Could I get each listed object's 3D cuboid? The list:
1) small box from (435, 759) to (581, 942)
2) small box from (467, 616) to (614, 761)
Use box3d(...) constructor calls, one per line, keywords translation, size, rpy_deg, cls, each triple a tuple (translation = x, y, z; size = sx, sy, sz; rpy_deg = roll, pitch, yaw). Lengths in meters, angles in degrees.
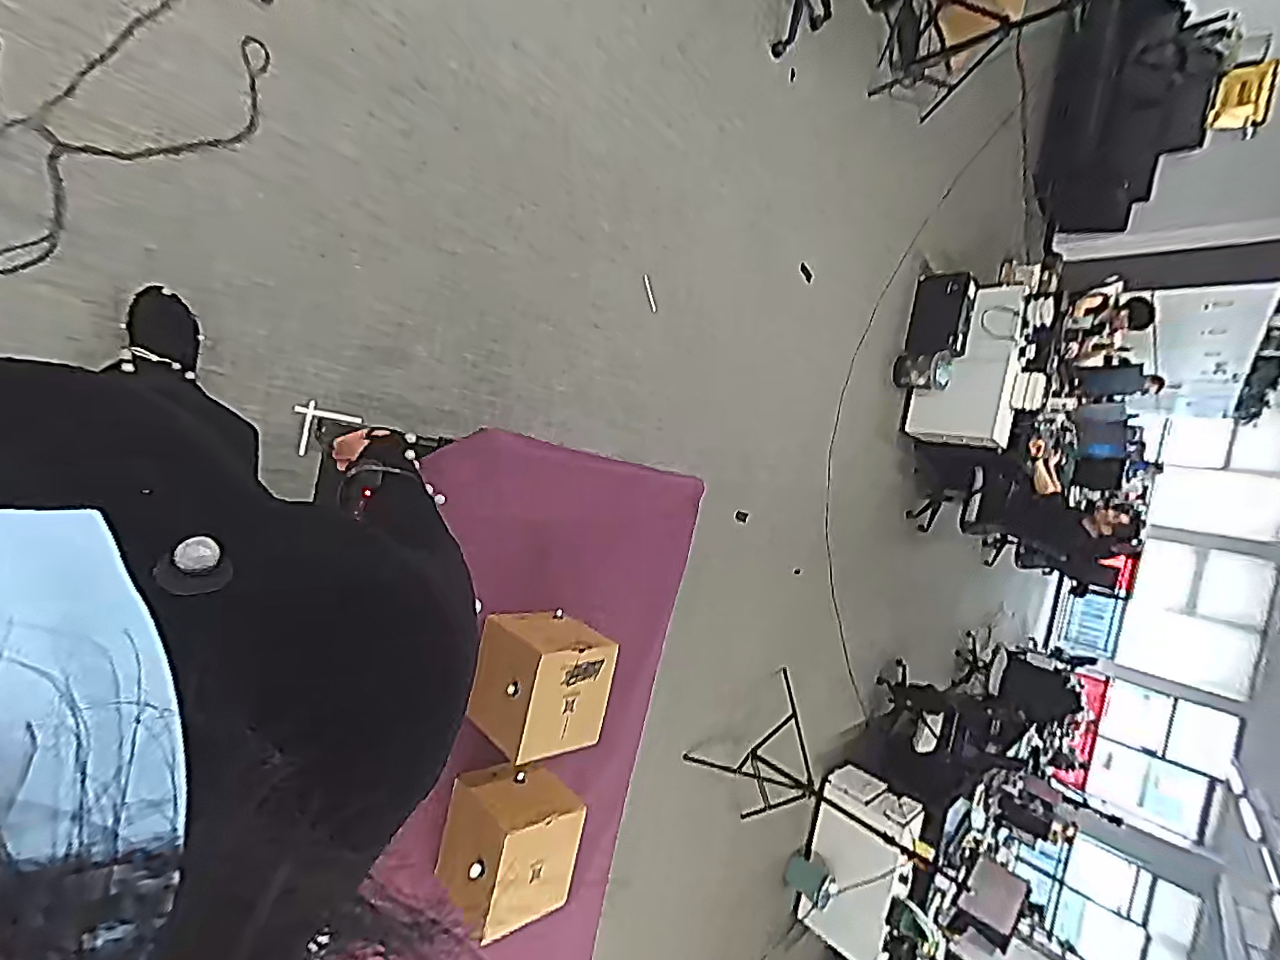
box3d(translation=(-0.231, 0.617, 0.929), size=(0.168, 0.176, 0.179), rpy_deg=(13, 89, -45), cls="small box")
box3d(translation=(-0.173, 0.338, 0.921), size=(0.168, 0.176, 0.179), rpy_deg=(12, 91, -45), cls="small box")
